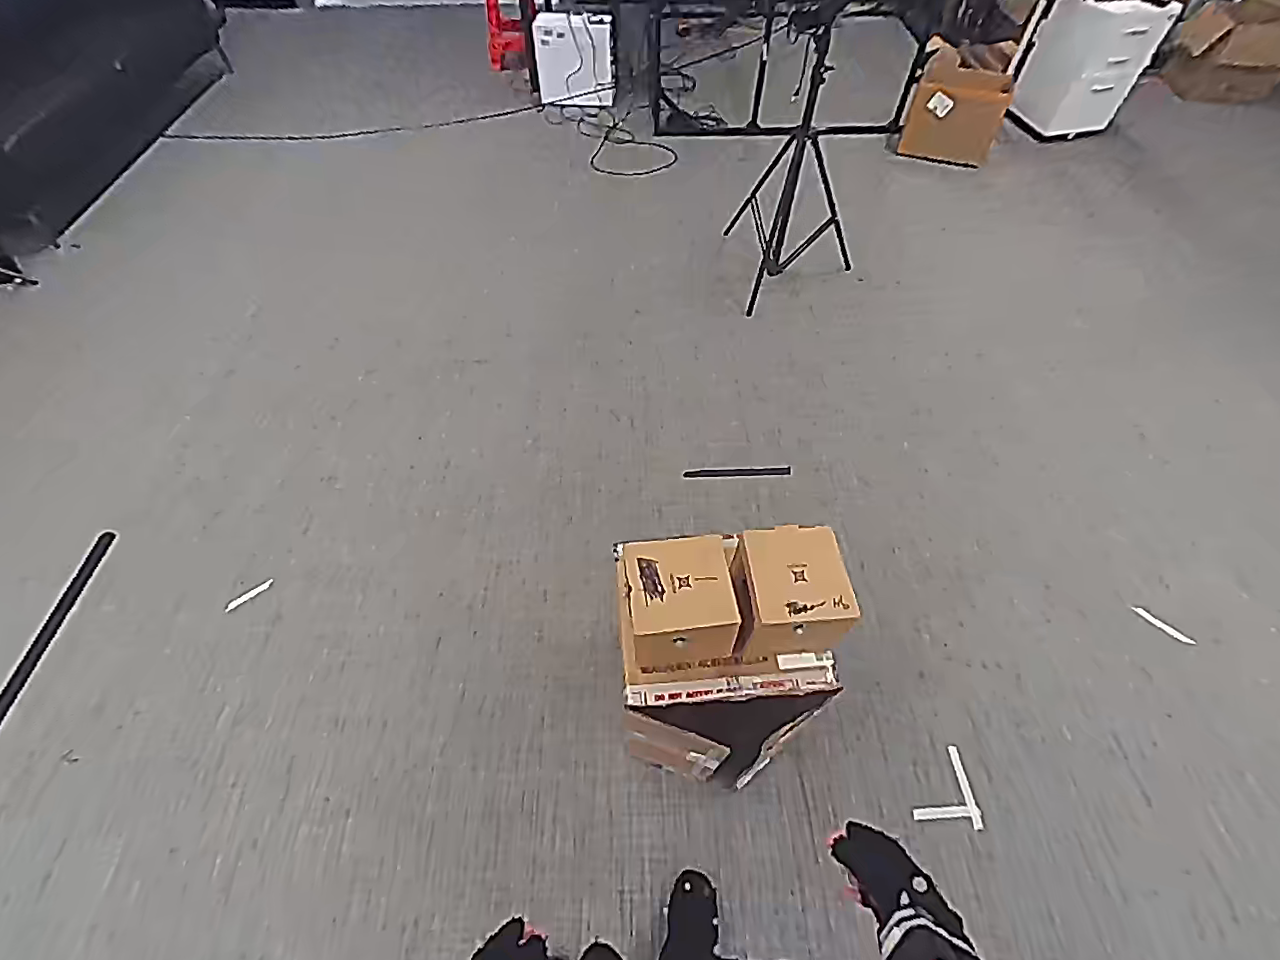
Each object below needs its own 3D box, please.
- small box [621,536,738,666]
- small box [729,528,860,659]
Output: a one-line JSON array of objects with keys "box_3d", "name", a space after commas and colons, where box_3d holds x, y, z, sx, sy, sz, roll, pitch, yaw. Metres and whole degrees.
[{"box_3d": [0.064, 0.220, 0.961, 0.179, 0.176, 0.168, -6, 54, -3], "name": "small box"}, {"box_3d": [0.262, 0.205, 0.972, 0.168, 0.176, 0.179, -2, 53, -4], "name": "small box"}]
